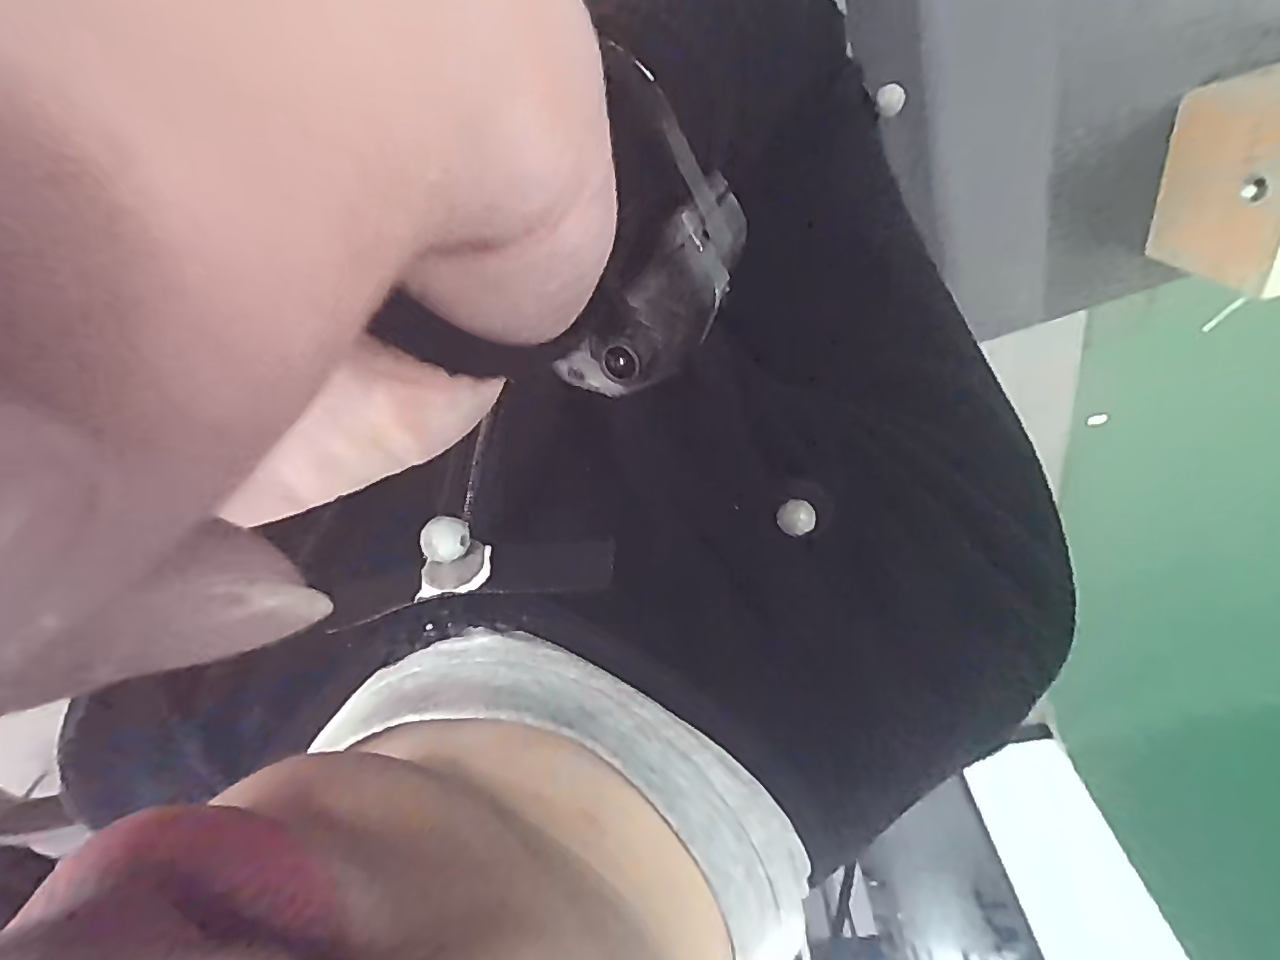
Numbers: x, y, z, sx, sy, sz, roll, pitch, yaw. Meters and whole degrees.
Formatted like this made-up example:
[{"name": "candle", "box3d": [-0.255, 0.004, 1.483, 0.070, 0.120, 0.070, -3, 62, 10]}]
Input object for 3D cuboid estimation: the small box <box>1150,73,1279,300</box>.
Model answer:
[{"name": "small box", "box3d": [0.676, -0.311, 0.544, 0.168, 0.176, 0.179, -13, 127, 11]}]
